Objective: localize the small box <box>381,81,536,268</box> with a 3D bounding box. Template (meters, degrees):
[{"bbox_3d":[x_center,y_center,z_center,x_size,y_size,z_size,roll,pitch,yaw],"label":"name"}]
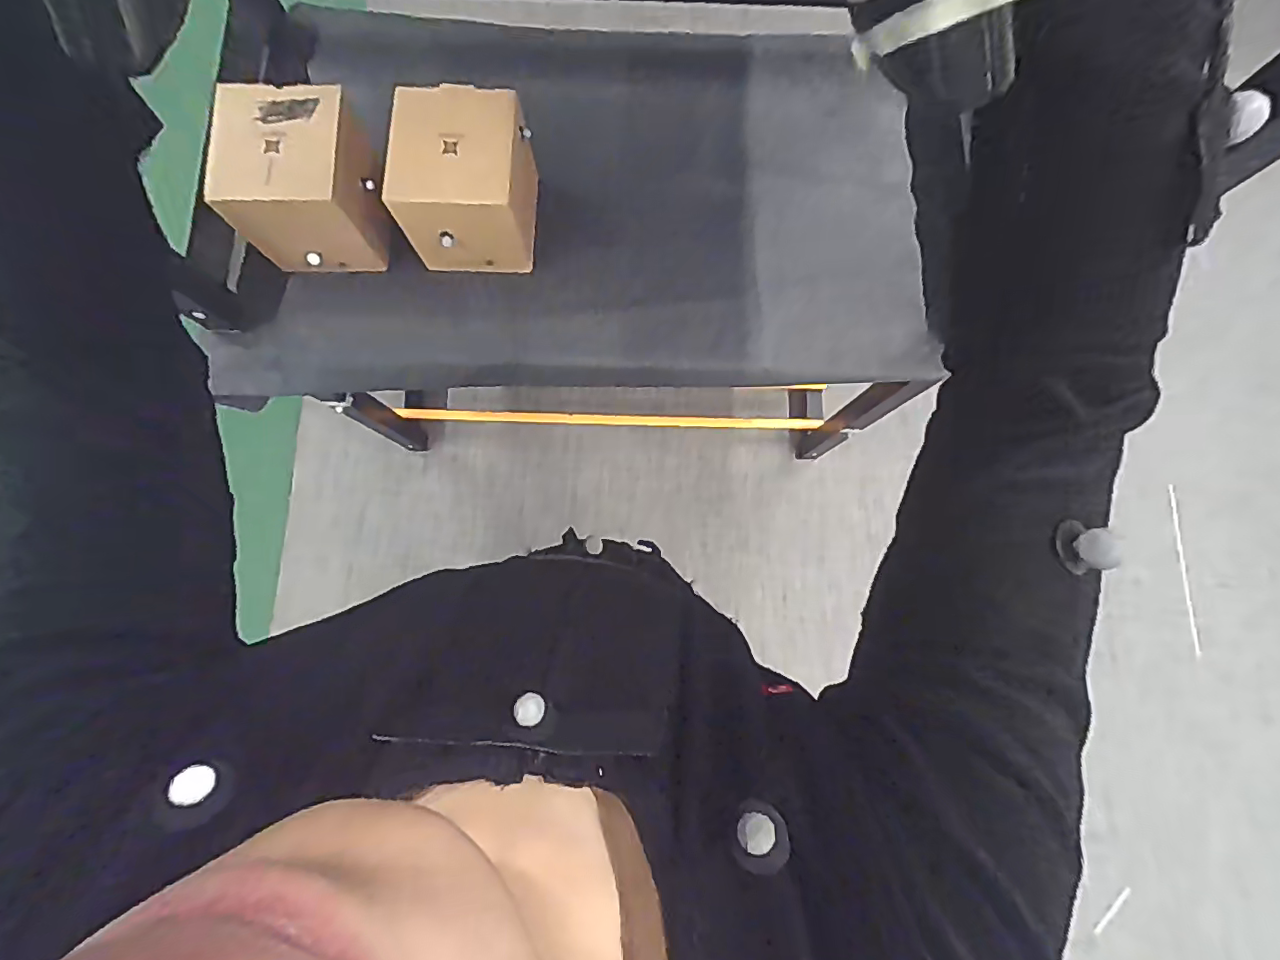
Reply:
[{"bbox_3d":[-0.249,-0.430,0.784,0.168,0.176,0.179,1,79,-1],"label":"small box"}]

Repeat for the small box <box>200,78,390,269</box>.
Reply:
[{"bbox_3d":[-0.476,-0.430,0.777,0.168,0.176,0.179,-1,80,-1],"label":"small box"}]
